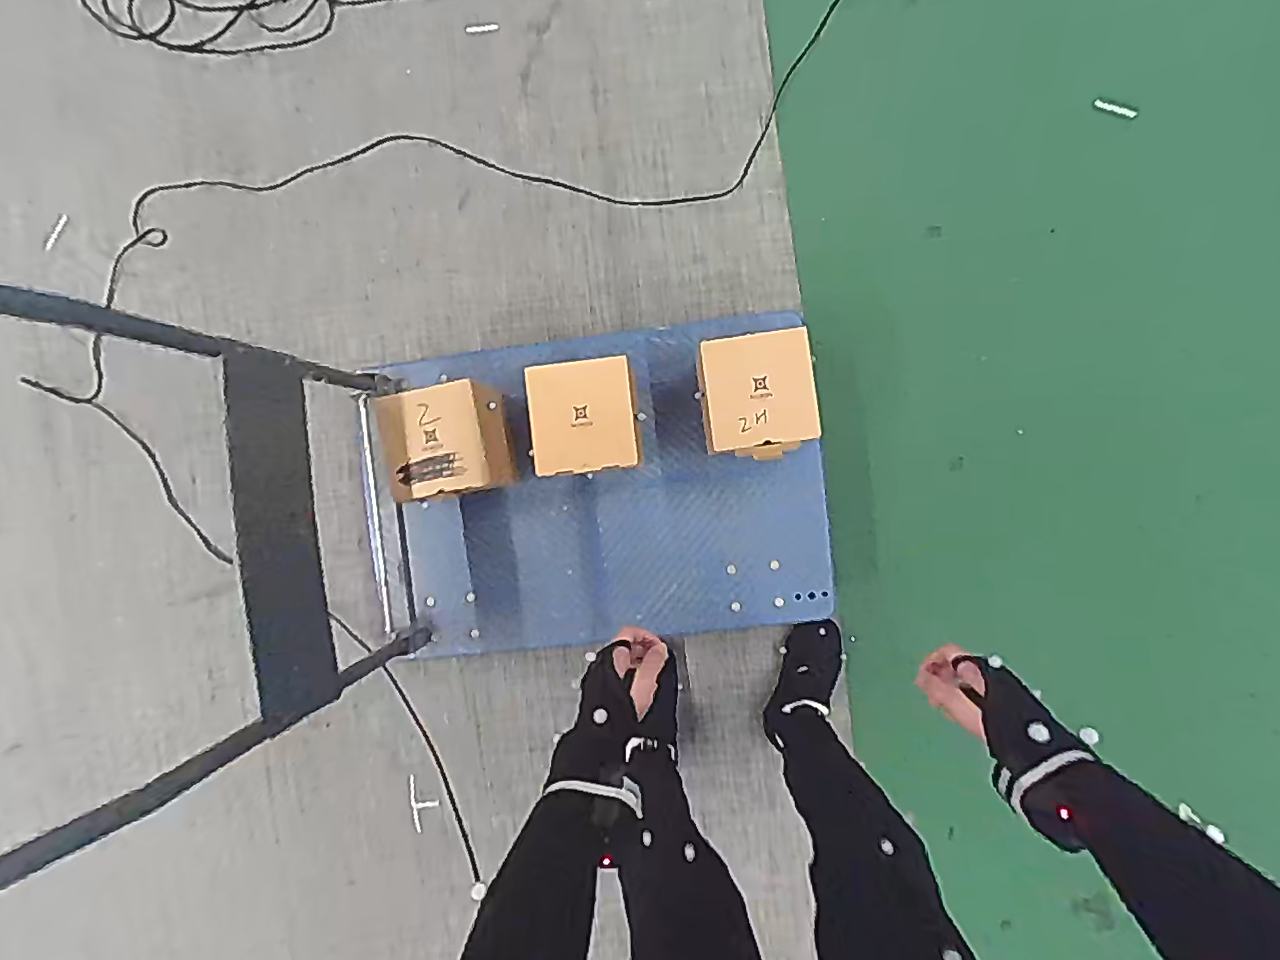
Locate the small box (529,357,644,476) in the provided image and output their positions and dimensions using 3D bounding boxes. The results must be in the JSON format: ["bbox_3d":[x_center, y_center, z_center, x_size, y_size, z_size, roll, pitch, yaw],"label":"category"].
[{"bbox_3d":[-0.084,-0.101,0.929,0.168,0.176,0.179,-6,92,3],"label":"small box"}]

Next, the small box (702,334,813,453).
[{"bbox_3d":[0.189,-0.136,0.905,0.168,0.176,0.179,-1,92,7],"label":"small box"}]
